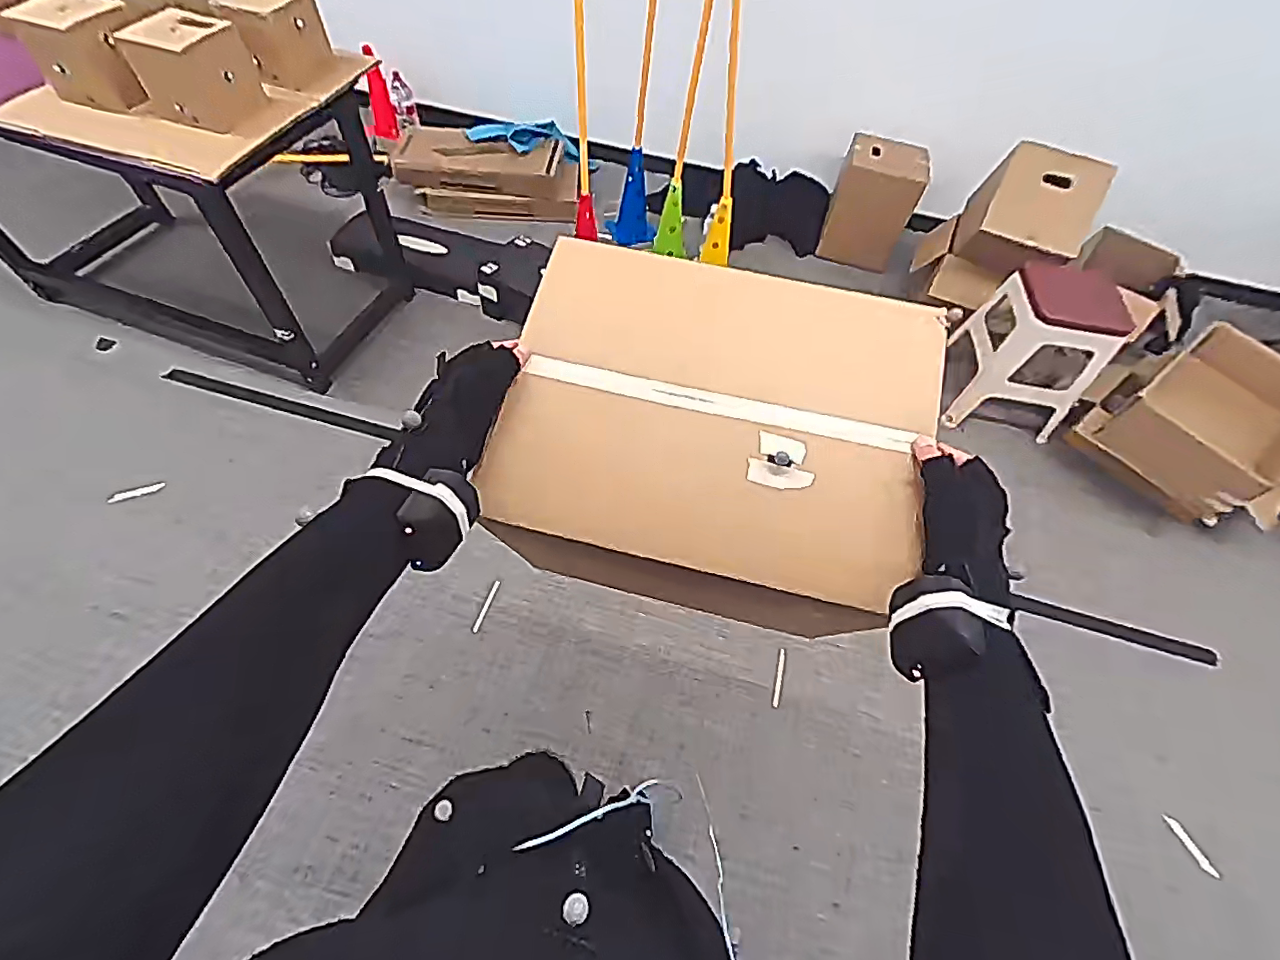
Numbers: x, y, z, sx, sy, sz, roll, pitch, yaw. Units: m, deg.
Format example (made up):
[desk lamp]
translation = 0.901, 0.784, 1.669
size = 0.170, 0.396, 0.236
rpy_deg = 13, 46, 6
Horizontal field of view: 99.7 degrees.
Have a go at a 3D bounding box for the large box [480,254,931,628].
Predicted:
[large box]
translation = 0.076, -0.021, 0.670
size = 0.408, 0.320, 0.320
rpy_deg = 13, 73, 5
